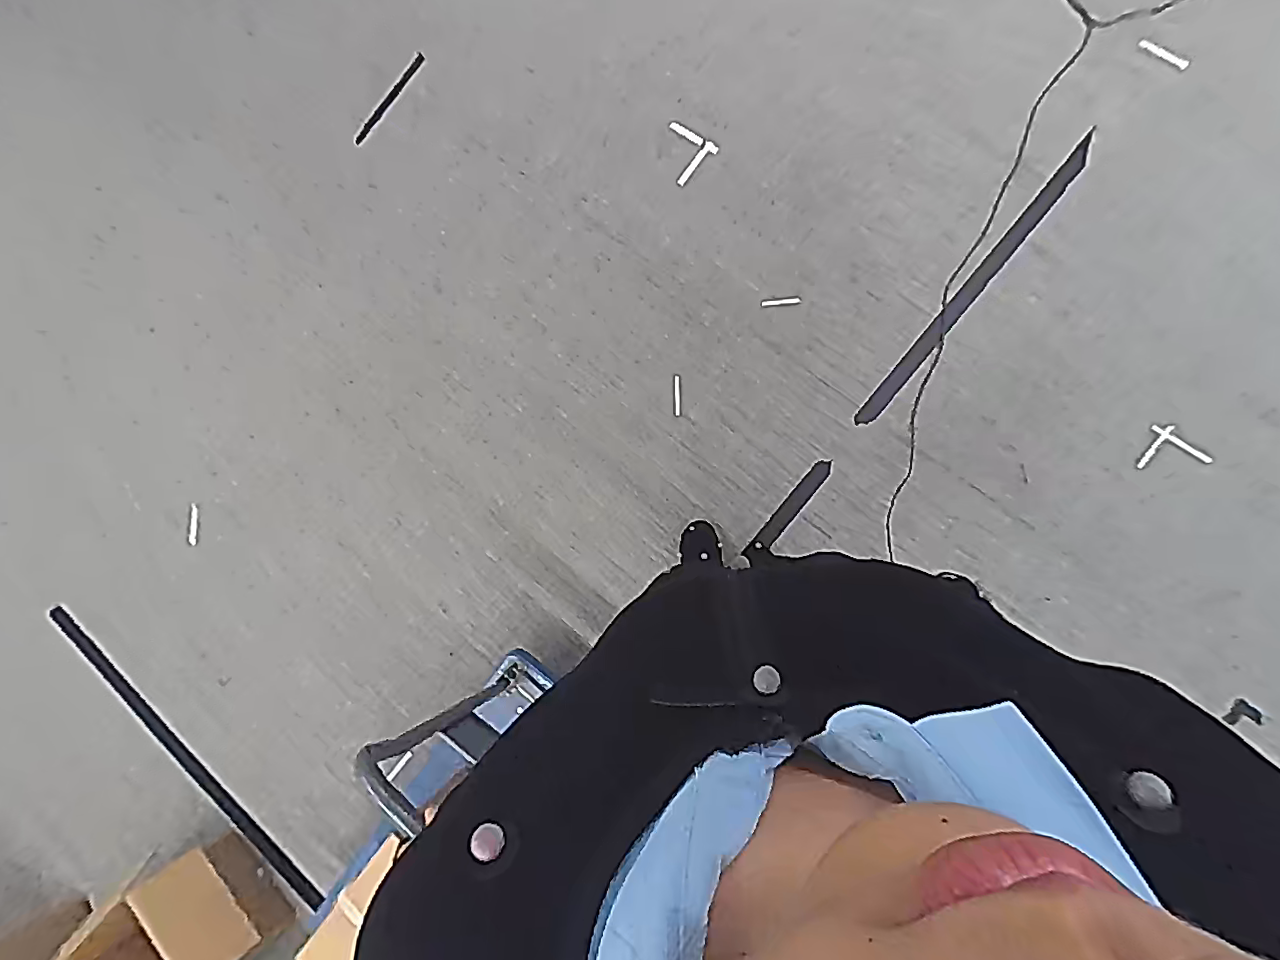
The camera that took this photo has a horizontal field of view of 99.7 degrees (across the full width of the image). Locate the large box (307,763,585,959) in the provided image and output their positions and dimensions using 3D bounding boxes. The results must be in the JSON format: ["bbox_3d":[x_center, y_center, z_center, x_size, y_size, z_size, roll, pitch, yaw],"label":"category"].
[{"bbox_3d":[-0.391,0.921,1.176,0.408,0.320,0.320,37,90,9],"label":"large box"}]
